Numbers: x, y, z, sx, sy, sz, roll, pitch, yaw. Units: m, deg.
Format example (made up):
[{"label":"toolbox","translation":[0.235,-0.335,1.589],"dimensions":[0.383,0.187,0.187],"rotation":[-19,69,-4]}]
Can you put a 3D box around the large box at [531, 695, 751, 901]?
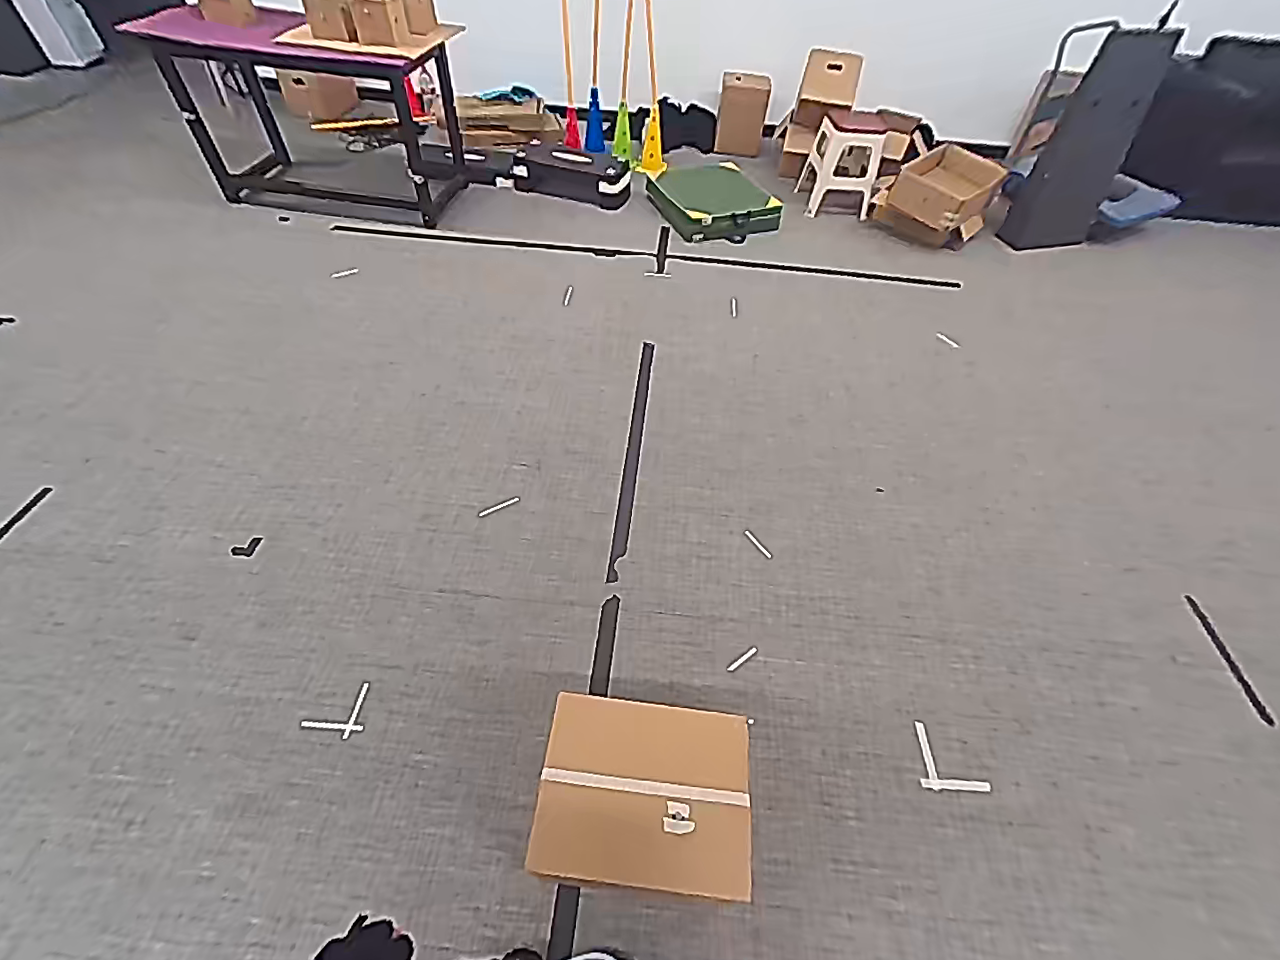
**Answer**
[{"label":"large box","translation":[0.003,0.692,1.170],"dimensions":[0.408,0.320,0.320],"rotation":[8,52,1]}]
